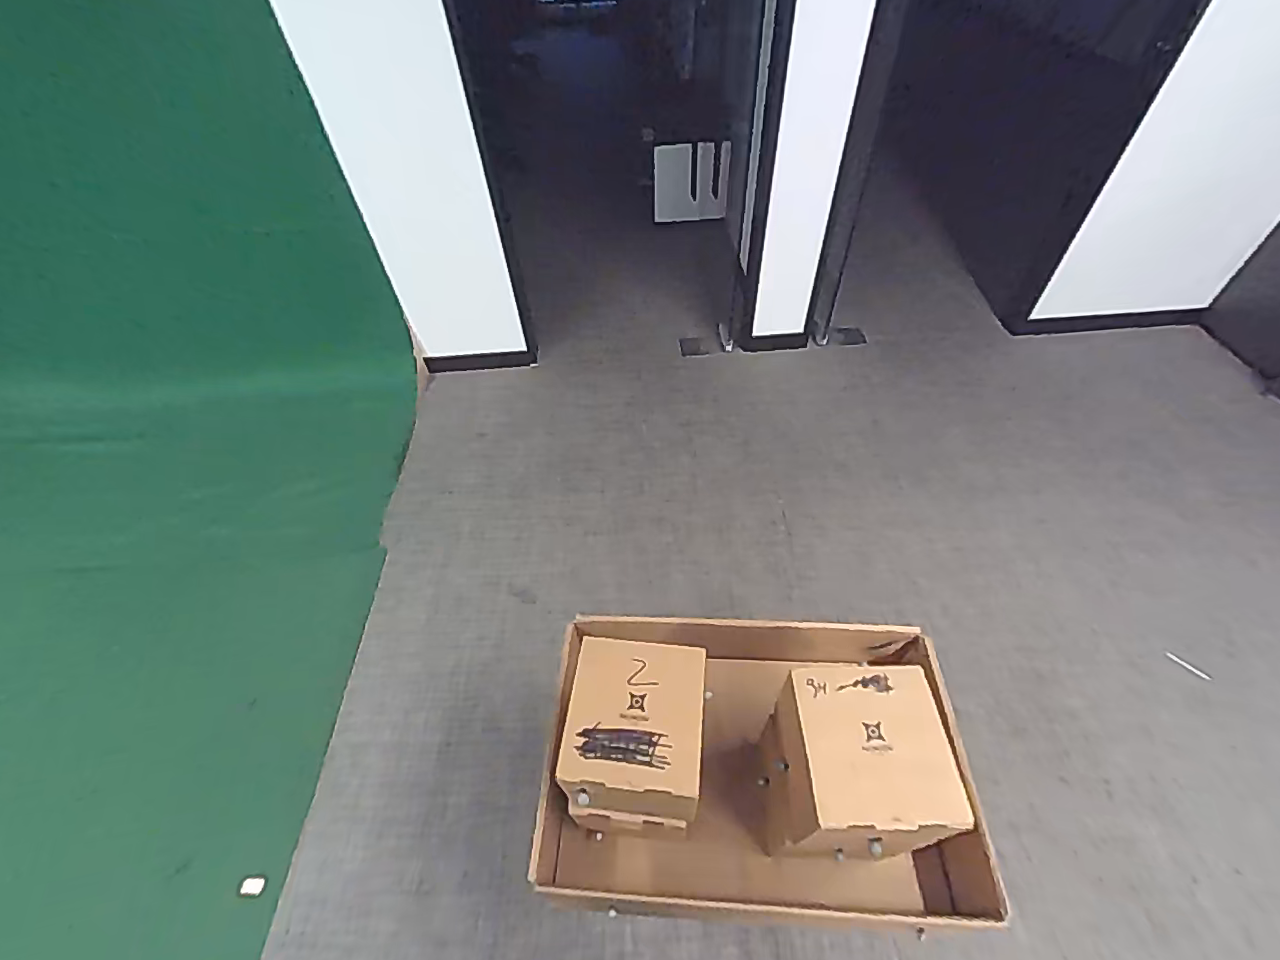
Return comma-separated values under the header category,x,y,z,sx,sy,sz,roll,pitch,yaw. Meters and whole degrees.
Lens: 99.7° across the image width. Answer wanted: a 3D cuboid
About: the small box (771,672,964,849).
category,x,y,z,sx,sy,sz,roll,pitch,yaw
small box,0.270,0.361,0.691,0.168,0.176,0.179,0,51,2
